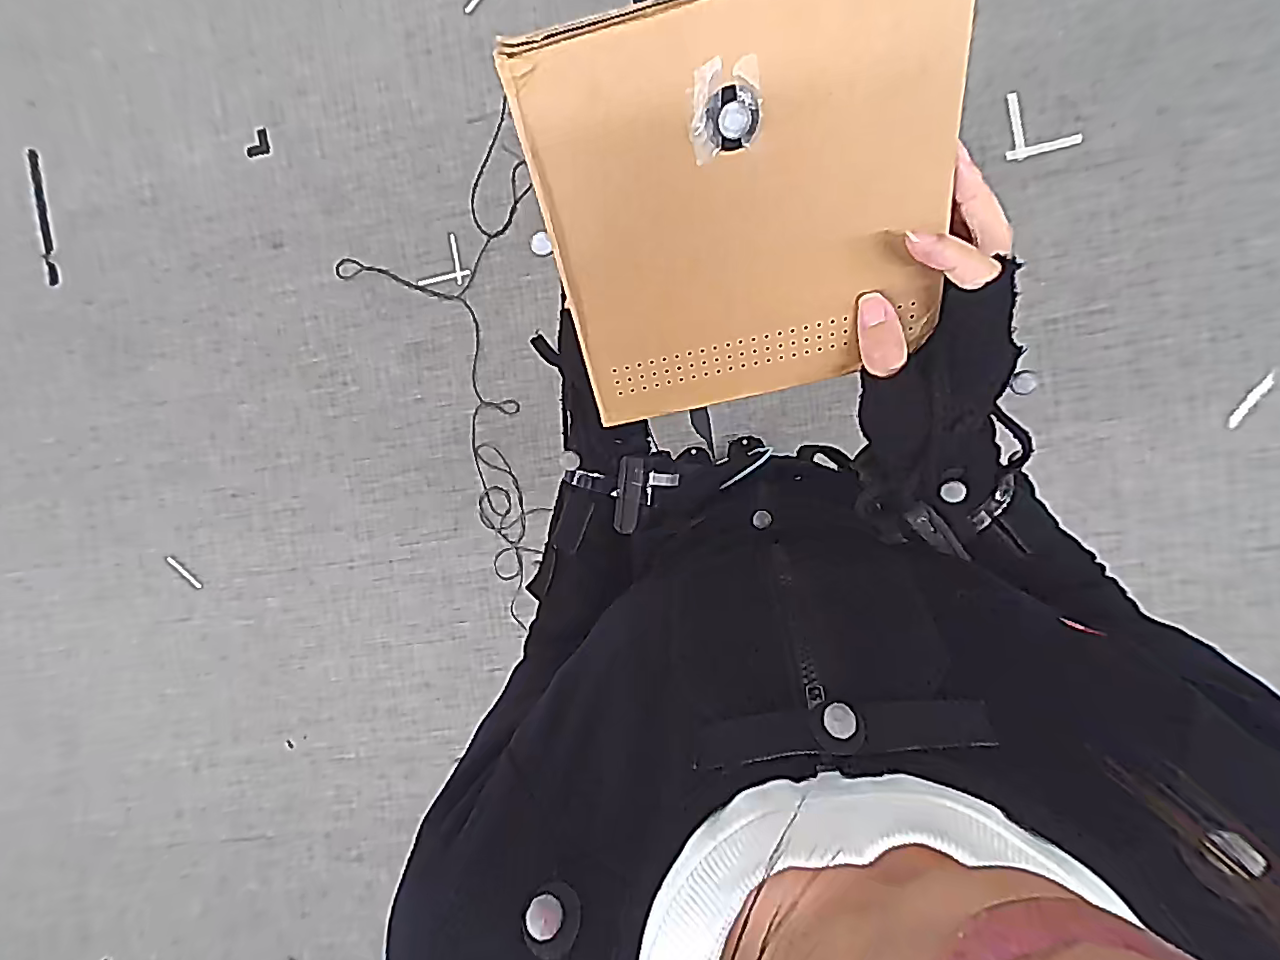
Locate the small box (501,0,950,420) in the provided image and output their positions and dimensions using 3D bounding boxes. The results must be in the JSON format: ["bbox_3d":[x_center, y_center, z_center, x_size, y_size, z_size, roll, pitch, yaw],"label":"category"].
[{"bbox_3d":[0.046,-0.151,0.305,0.179,0.168,0.176,-11,126,5],"label":"small box"}]
